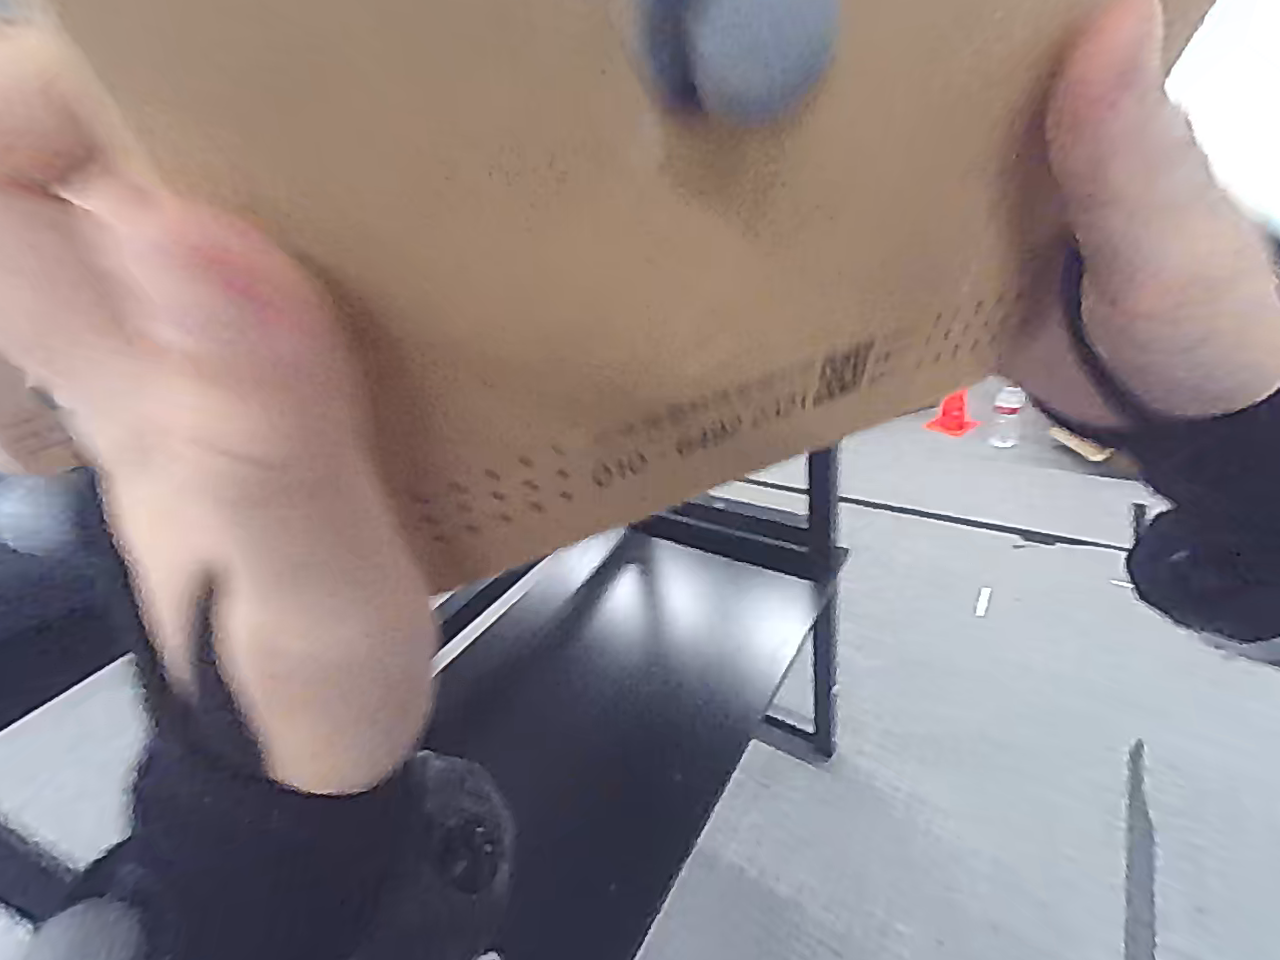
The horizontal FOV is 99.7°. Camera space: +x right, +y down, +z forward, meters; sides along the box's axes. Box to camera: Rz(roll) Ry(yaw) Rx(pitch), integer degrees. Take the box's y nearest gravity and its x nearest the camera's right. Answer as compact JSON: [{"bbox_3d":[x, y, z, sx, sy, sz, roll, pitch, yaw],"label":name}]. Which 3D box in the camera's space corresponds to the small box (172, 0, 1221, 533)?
[{"bbox_3d":[0.001,-0.109,0.128,0.168,0.176,0.179,-20,53,-17],"label":"small box"}]
